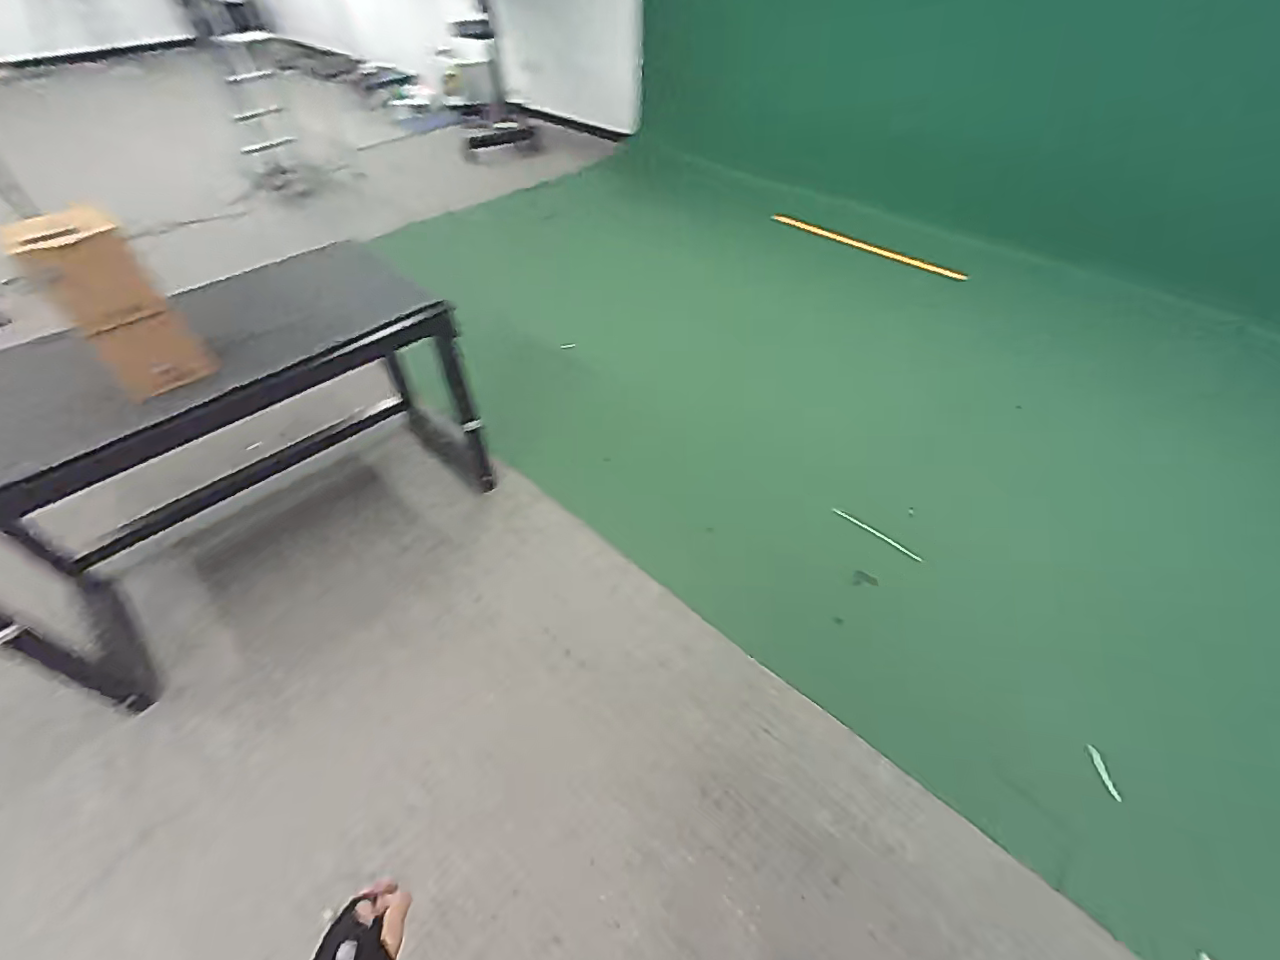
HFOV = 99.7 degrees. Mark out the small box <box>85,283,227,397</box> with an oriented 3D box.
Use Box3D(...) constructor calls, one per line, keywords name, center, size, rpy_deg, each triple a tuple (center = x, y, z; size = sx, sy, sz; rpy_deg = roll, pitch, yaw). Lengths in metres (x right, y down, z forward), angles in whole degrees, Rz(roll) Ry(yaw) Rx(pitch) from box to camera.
Box3D(name="small box", center=(-1.084, -0.314, 1.219), size=(0.168, 0.176, 0.179), rpy_deg=(-34, 55, -28))
